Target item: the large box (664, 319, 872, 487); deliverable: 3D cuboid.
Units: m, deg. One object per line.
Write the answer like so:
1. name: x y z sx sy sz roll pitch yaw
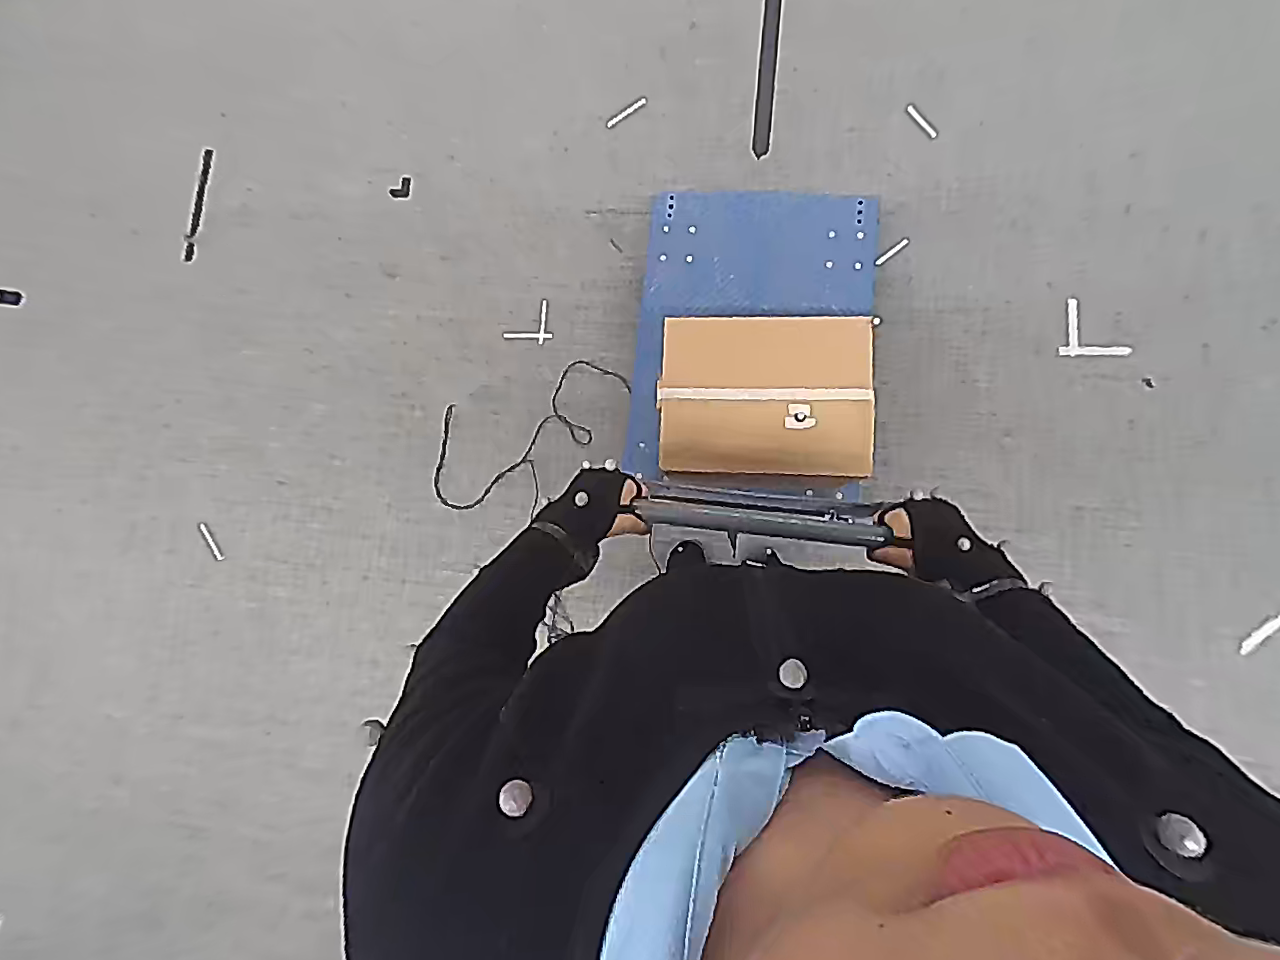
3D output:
1. large box: 0.260 -0.150 1.208 0.408 0.320 0.320 2 85 6
